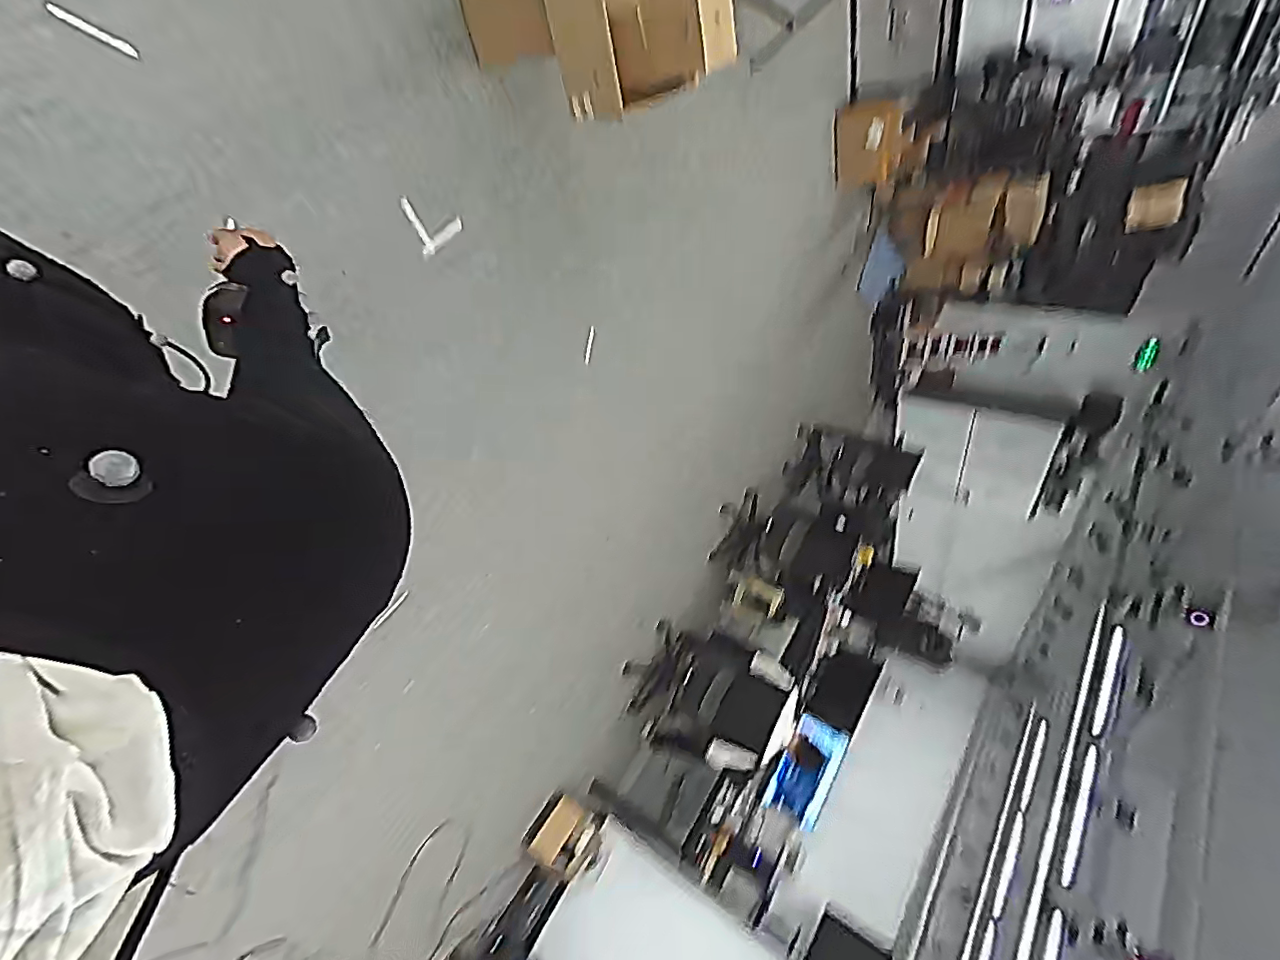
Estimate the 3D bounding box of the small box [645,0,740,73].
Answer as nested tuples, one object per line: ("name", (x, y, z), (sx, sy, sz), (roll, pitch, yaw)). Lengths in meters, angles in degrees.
("small box", (0.132, -1.166, 1.367), (0.168, 0.176, 0.179), (-48, 139, -30))
